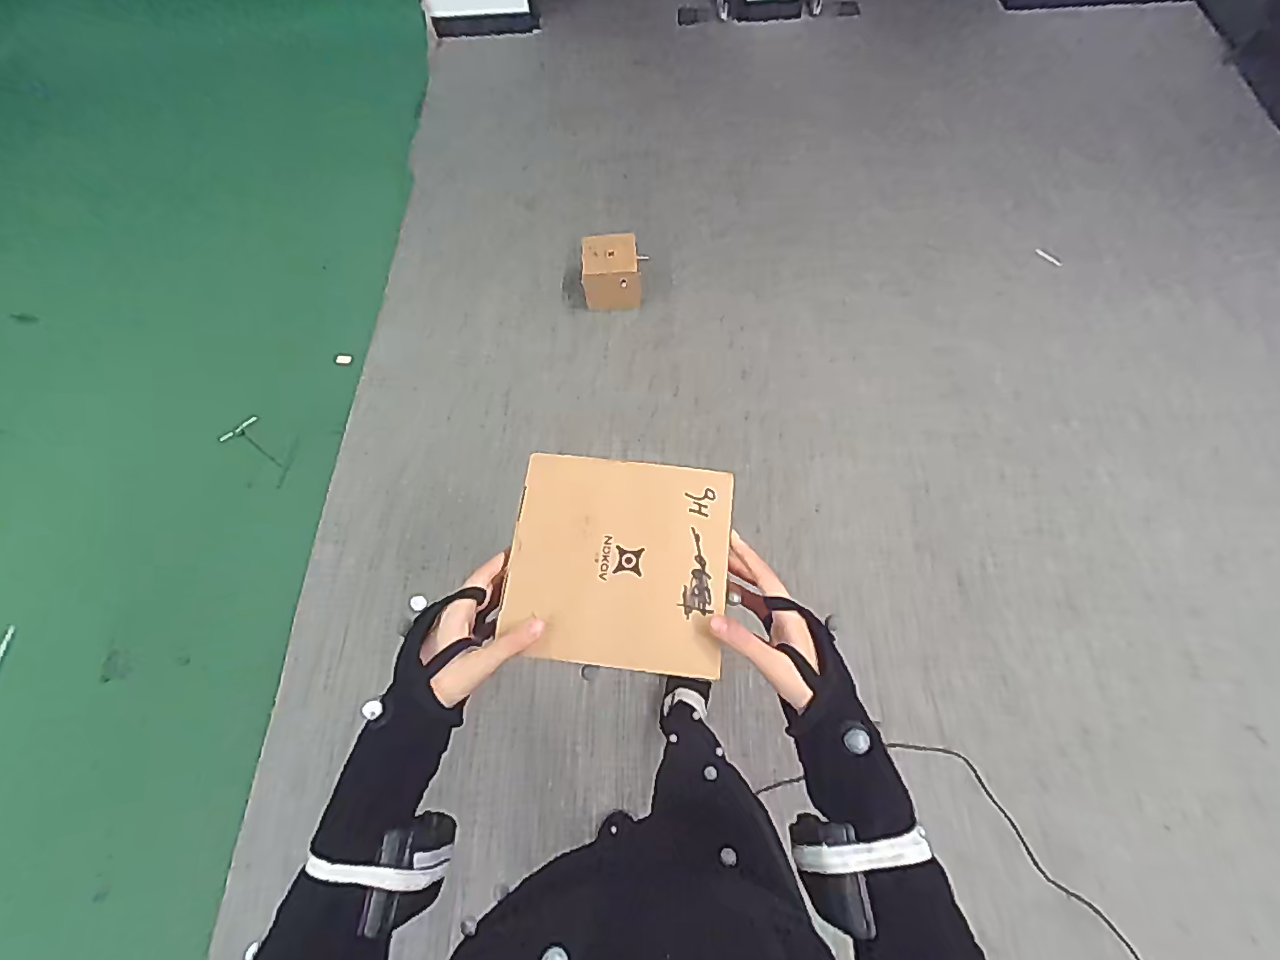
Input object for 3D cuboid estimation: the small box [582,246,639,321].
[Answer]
[{"bbox_3d":[-0.095,-0.654,1.807,0.179,0.176,0.168,-4,65,2],"label":"small box"}]
